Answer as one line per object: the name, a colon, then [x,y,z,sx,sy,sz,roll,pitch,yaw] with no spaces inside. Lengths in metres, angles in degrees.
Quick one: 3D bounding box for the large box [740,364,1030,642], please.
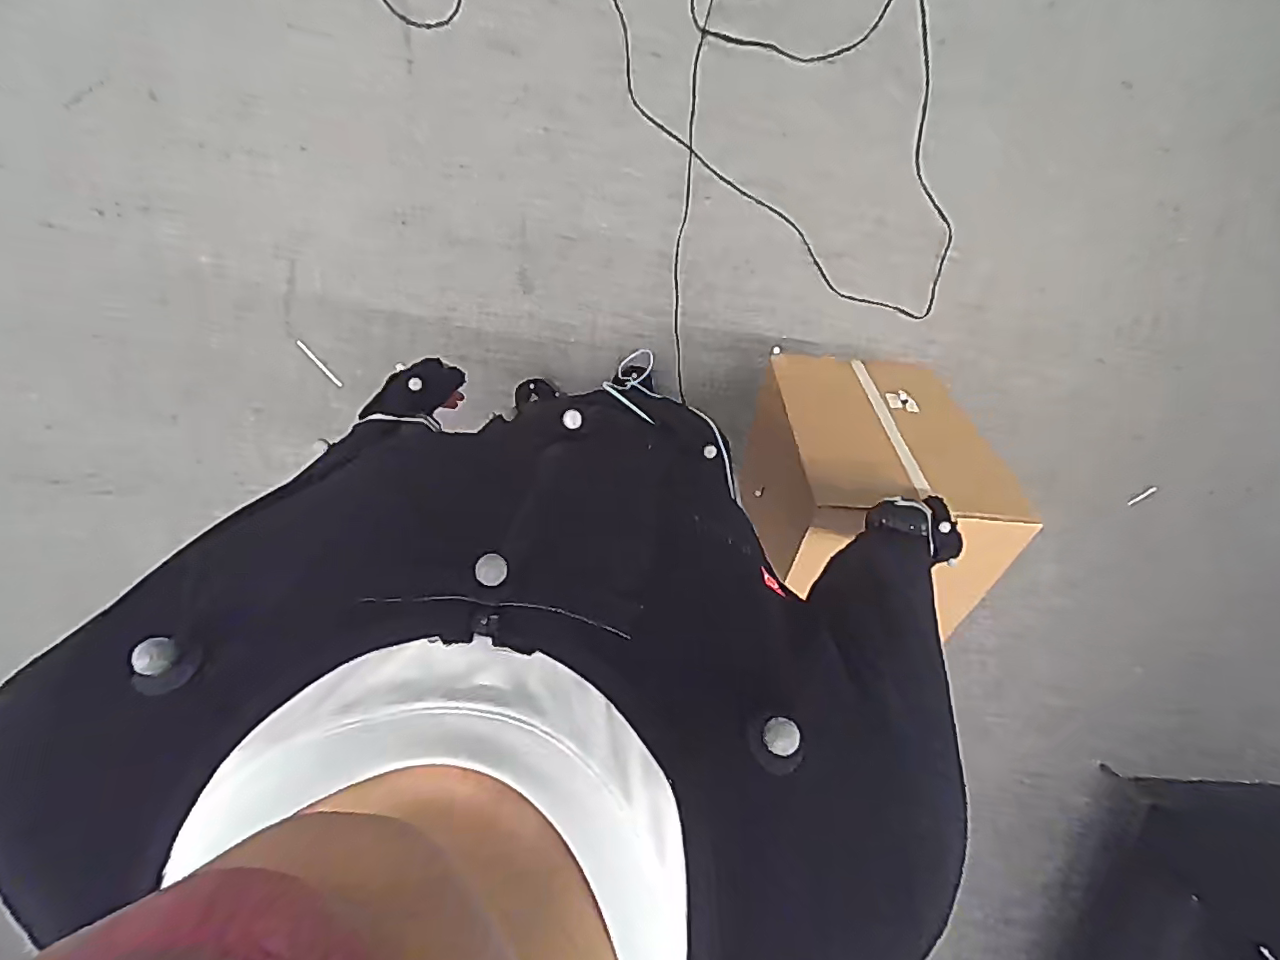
large box: [0.380,0.035,0.980,0.320,0.408,0.320,5,132,-2]
